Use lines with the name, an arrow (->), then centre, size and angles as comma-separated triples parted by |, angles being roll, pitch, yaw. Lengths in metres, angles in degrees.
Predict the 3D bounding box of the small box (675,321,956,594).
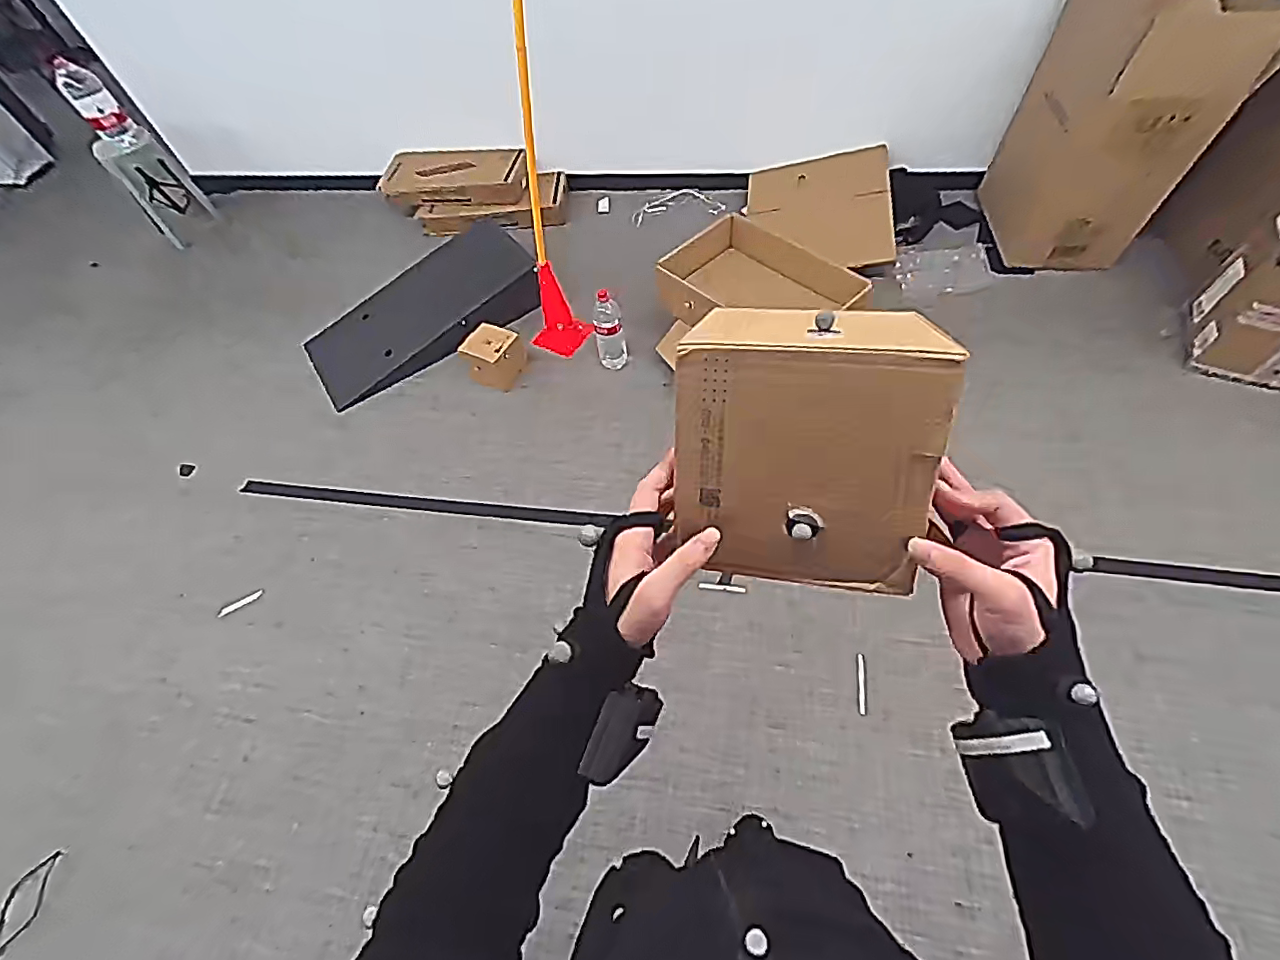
small box -> 0.125, -0.033, 0.435 | 0.176, 0.168, 0.179 | 6, 25, 13
